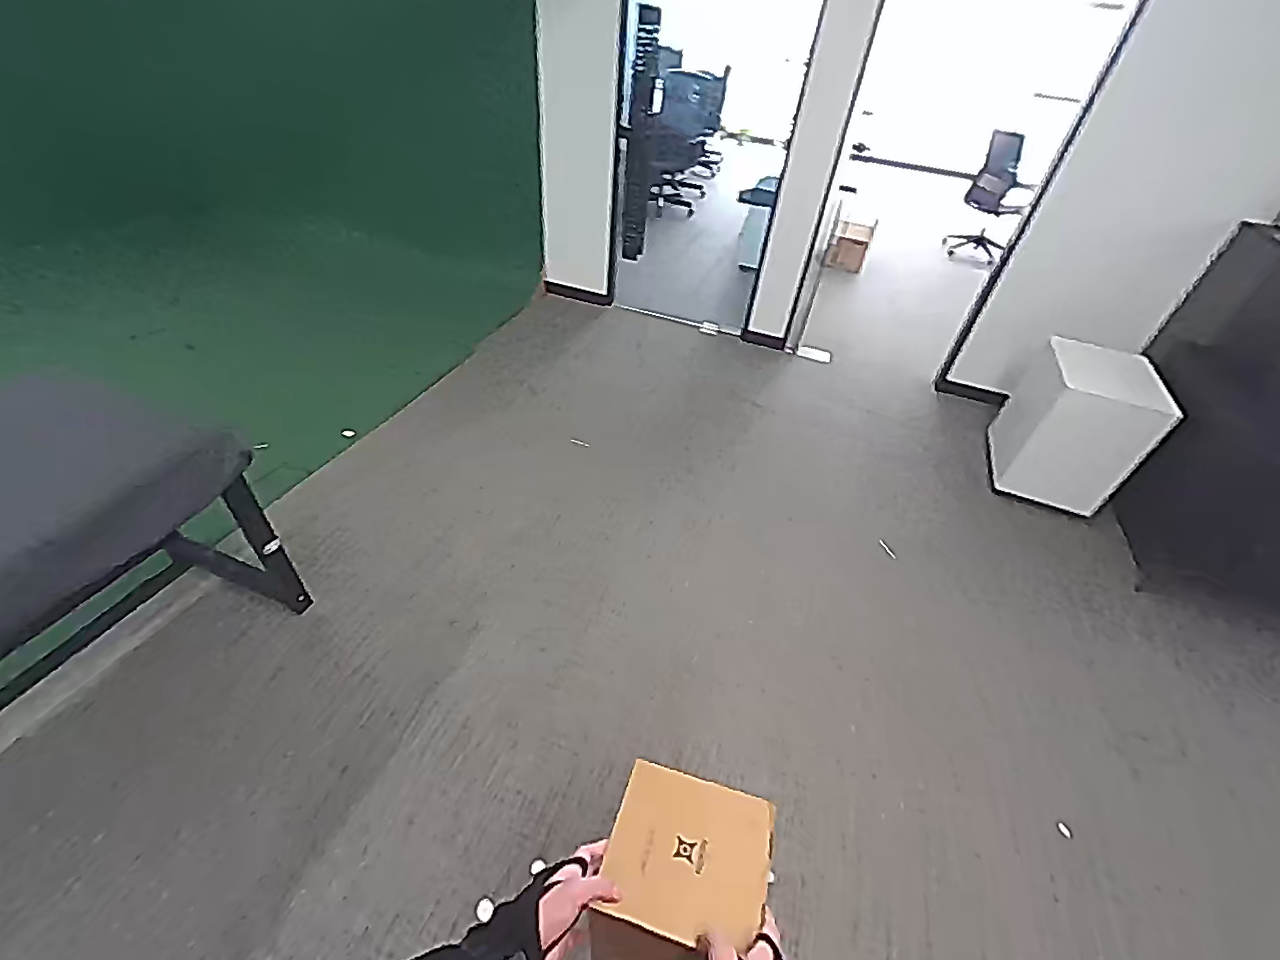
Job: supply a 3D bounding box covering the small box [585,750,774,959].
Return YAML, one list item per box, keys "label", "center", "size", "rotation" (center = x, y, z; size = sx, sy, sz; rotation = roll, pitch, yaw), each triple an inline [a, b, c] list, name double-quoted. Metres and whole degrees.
- label: "small box"
  center: [0.047, 0.463, 0.633]
  size: [0.179, 0.176, 0.168]
  rotation: [12, 31, 15]
